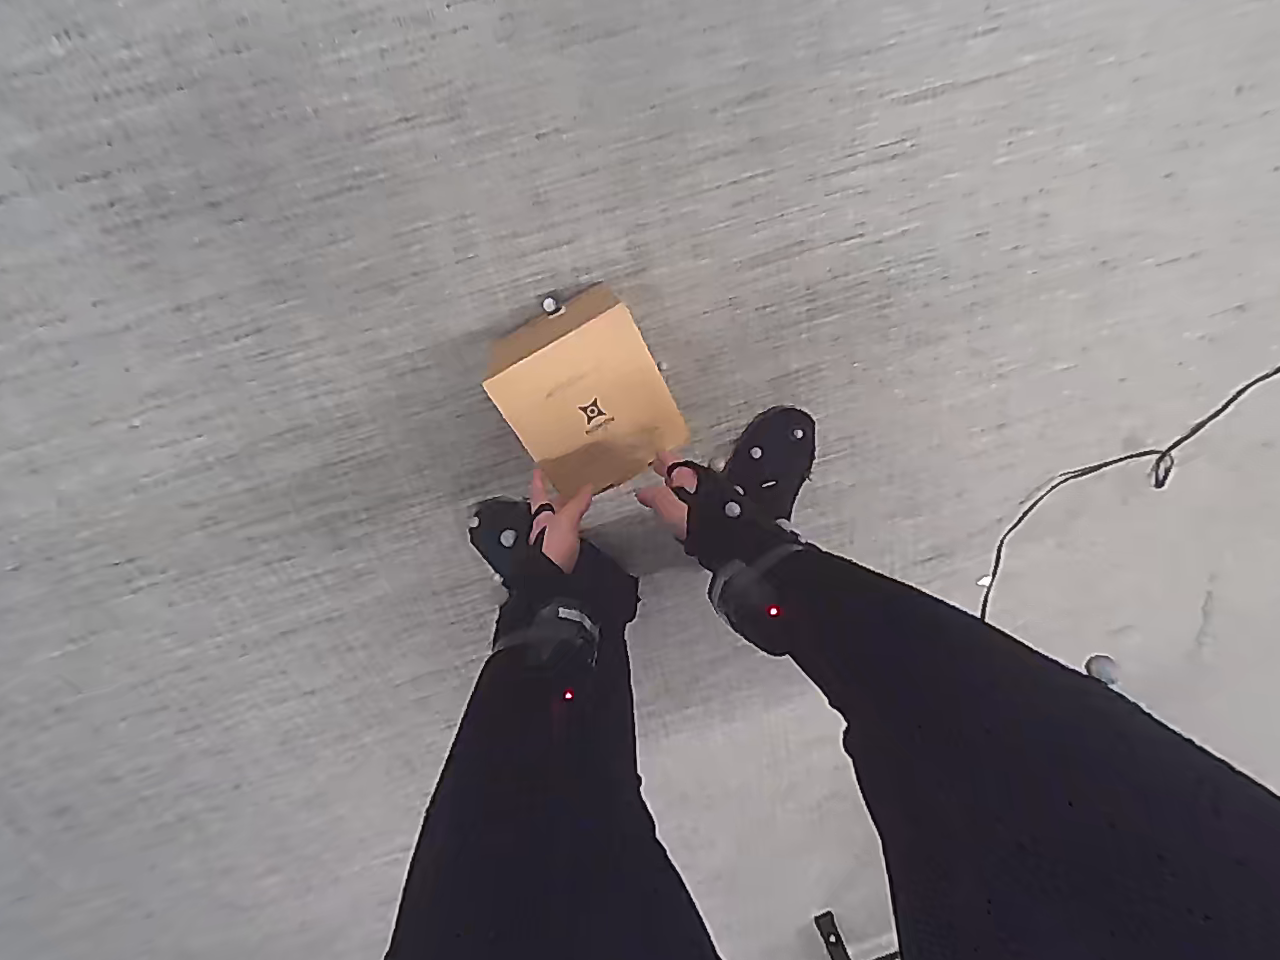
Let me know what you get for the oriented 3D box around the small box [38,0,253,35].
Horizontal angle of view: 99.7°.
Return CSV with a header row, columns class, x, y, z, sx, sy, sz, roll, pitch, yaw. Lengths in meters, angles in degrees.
class,x,y,z,sx,sy,sz,roll,pitch,yaw
small box,-0.237,-0.335,0.239,0.179,0.176,0.168,-41,131,-25
